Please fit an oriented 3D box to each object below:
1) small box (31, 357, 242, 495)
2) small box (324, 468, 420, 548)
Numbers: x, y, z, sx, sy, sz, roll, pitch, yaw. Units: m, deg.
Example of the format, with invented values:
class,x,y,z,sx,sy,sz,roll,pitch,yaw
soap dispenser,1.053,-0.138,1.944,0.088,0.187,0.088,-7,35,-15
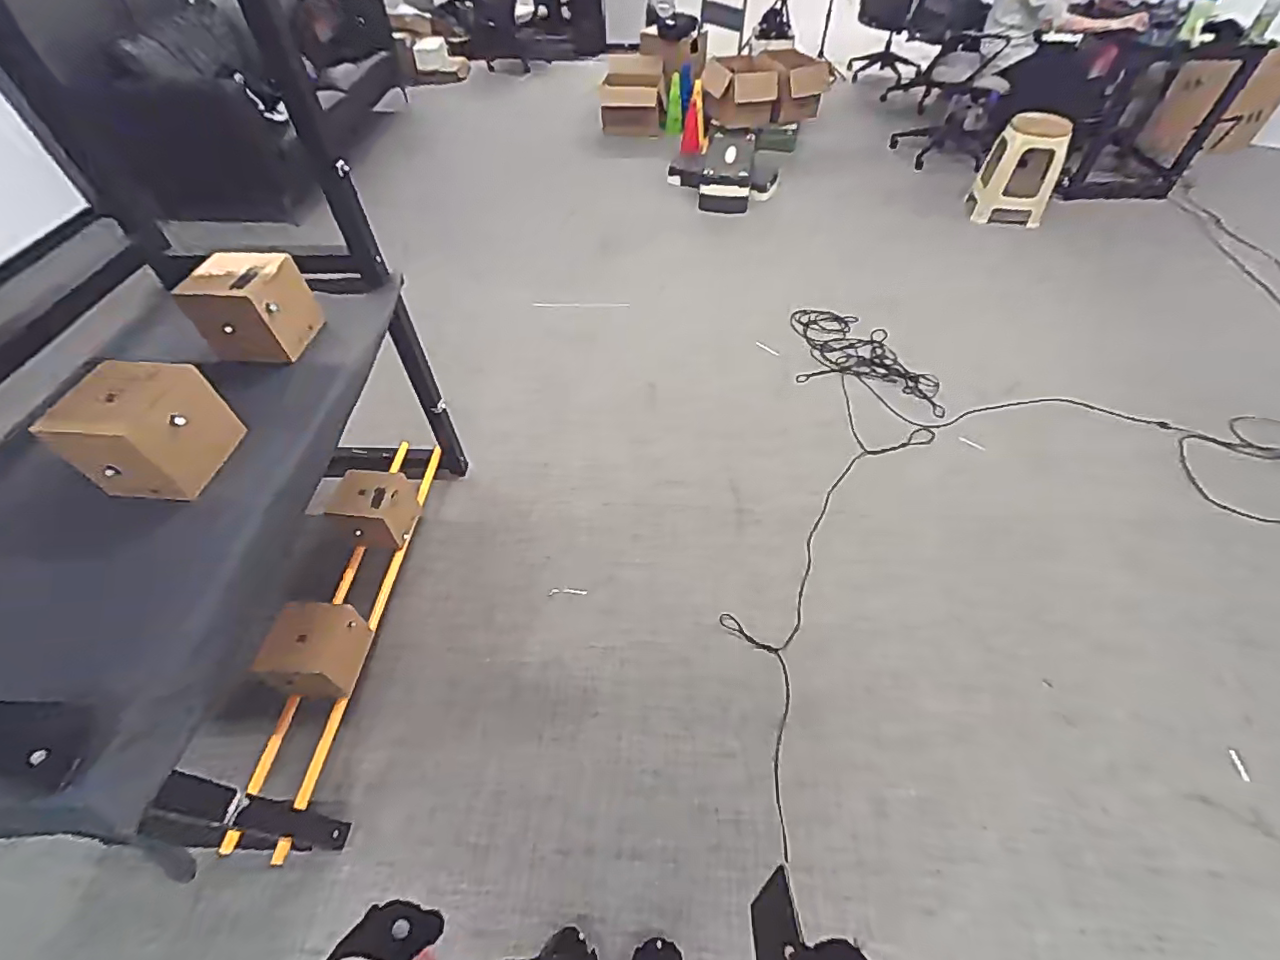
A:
class,x,y,z,sx,sy,sz,roll,pitch,yaw
small box,-0.850,-0.091,0.941,0.168,0.176,0.179,4,51,4
small box,-0.780,0.086,1.601,0.179,0.176,0.168,4,50,4
